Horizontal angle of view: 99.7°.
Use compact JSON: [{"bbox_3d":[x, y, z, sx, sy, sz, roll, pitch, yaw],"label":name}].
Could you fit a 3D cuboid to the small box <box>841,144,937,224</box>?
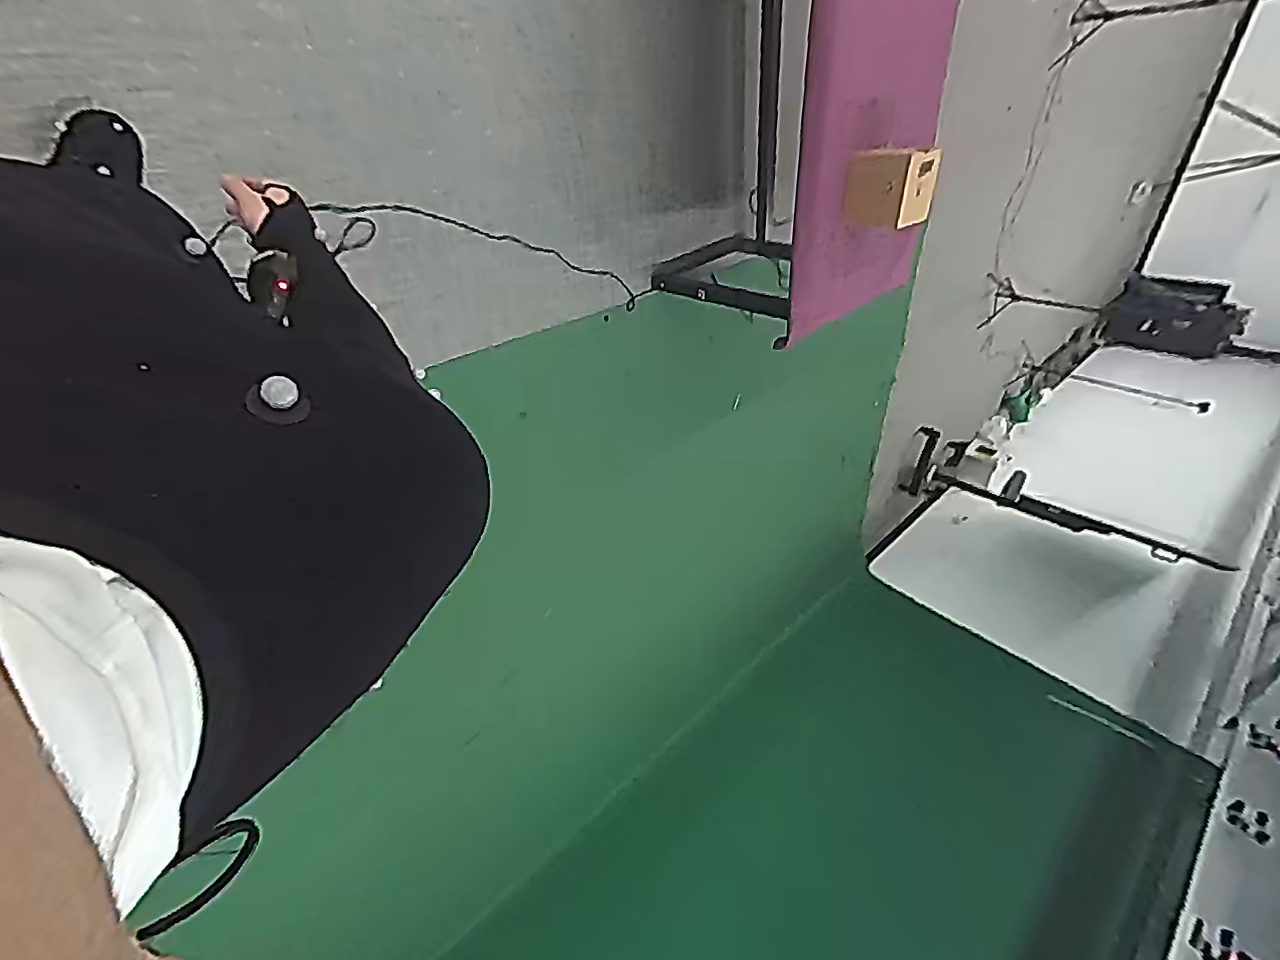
[{"bbox_3d":[0.676,-0.814,1.484,0.168,0.176,0.179,-29,132,-31],"label":"small box"}]
